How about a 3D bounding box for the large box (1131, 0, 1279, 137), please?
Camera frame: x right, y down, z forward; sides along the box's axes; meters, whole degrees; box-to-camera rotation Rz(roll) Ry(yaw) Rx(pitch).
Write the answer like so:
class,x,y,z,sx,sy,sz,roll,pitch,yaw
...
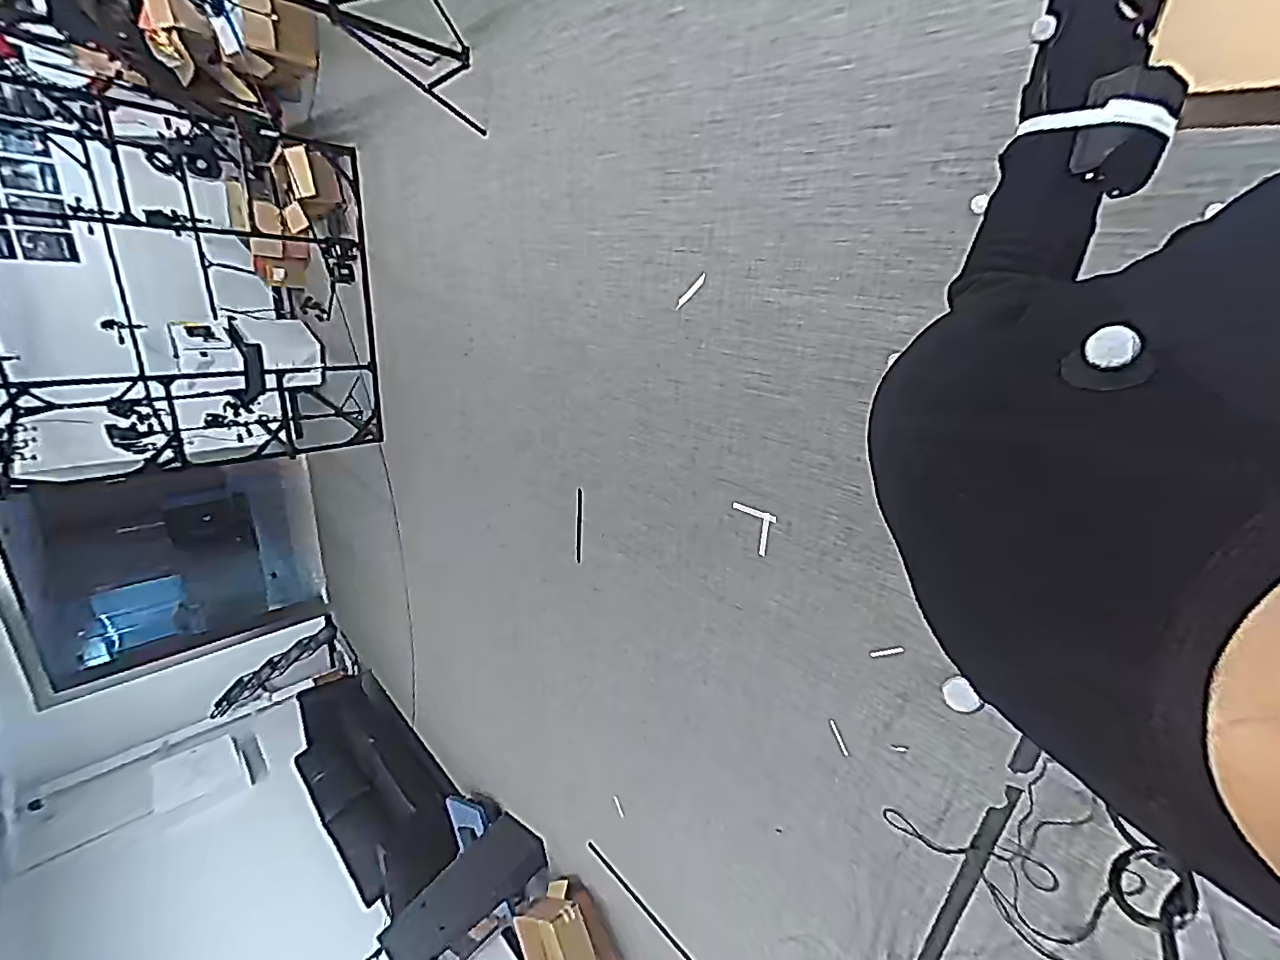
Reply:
class,x,y,z,sx,sy,sz,roll,pitch,yaw
large box,0.601,-0.402,0.308,0.408,0.320,0.320,23,126,36
